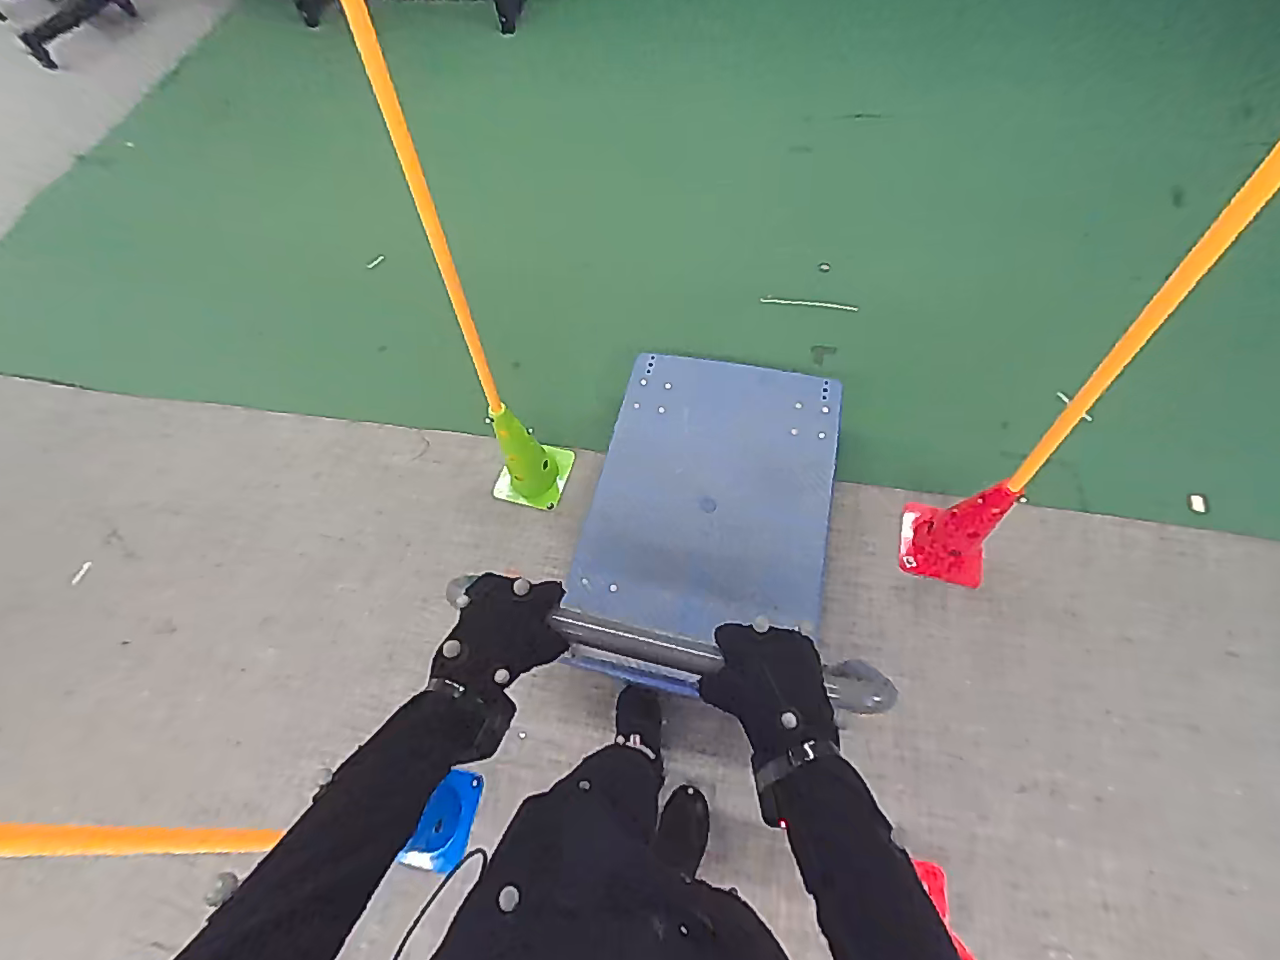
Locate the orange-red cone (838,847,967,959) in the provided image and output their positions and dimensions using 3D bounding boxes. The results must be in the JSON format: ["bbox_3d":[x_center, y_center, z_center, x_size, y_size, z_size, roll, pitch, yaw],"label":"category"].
[{"bbox_3d":[0.491,0.806,0.951,0.199,0.360,0.198,7,64,10],"label":"orange-red cone"}]

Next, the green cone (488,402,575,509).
[{"bbox_3d":[-0.327,-0.095,1.461,0.202,0.368,0.200,12,65,12],"label":"green cone"}]
